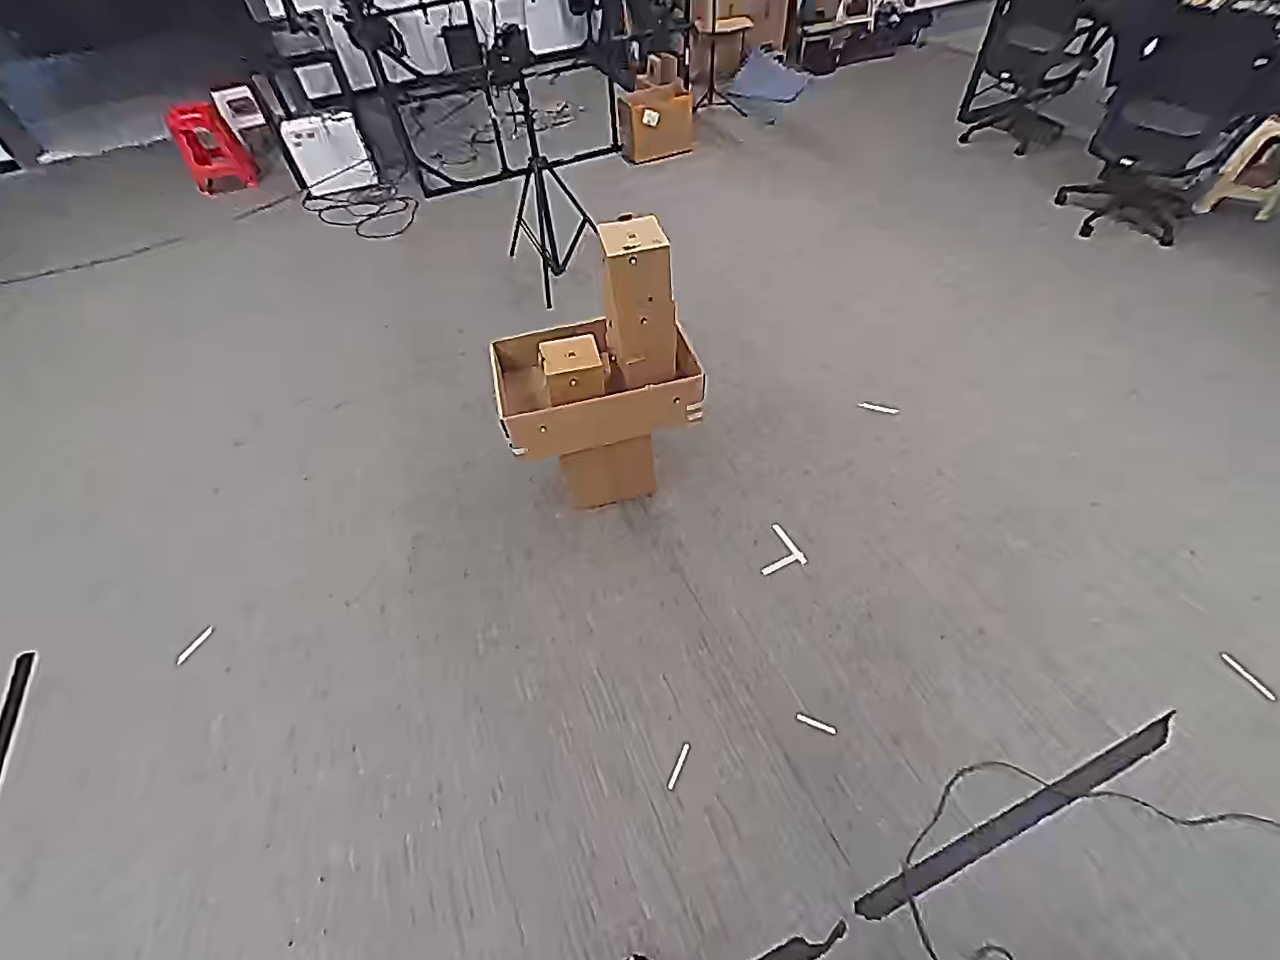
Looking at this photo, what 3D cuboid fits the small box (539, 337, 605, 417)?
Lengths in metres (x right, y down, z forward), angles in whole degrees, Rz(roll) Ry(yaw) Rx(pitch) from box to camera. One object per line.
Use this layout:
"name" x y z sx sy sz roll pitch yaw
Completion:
"small box" -0.211 -0.323 1.706 0.179 0.176 0.168 -13 51 -6

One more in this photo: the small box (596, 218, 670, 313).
"small box" -0.019 -0.585 1.476 0.168 0.176 0.179 -13 50 -3

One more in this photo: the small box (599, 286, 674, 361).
"small box" -0.006 -0.478 1.601 0.179 0.176 0.168 -17 52 -8
